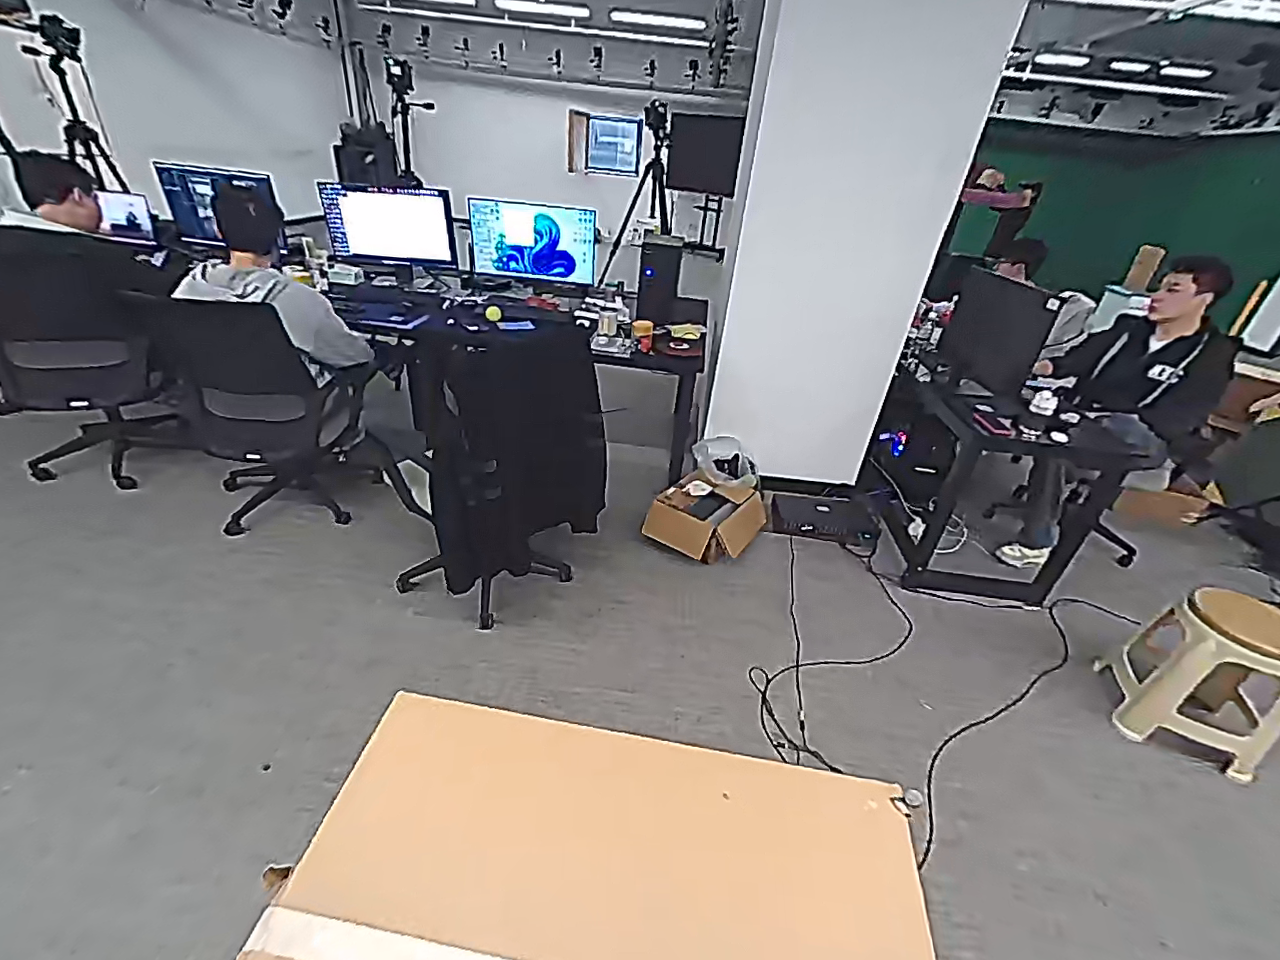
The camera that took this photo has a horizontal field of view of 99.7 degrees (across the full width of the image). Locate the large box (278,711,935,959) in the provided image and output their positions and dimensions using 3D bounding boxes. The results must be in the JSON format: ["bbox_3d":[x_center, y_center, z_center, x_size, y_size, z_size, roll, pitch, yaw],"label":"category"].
[{"bbox_3d":[-0.031,0.424,0.404,0.408,0.320,0.320,9,39,4],"label":"large box"}]
